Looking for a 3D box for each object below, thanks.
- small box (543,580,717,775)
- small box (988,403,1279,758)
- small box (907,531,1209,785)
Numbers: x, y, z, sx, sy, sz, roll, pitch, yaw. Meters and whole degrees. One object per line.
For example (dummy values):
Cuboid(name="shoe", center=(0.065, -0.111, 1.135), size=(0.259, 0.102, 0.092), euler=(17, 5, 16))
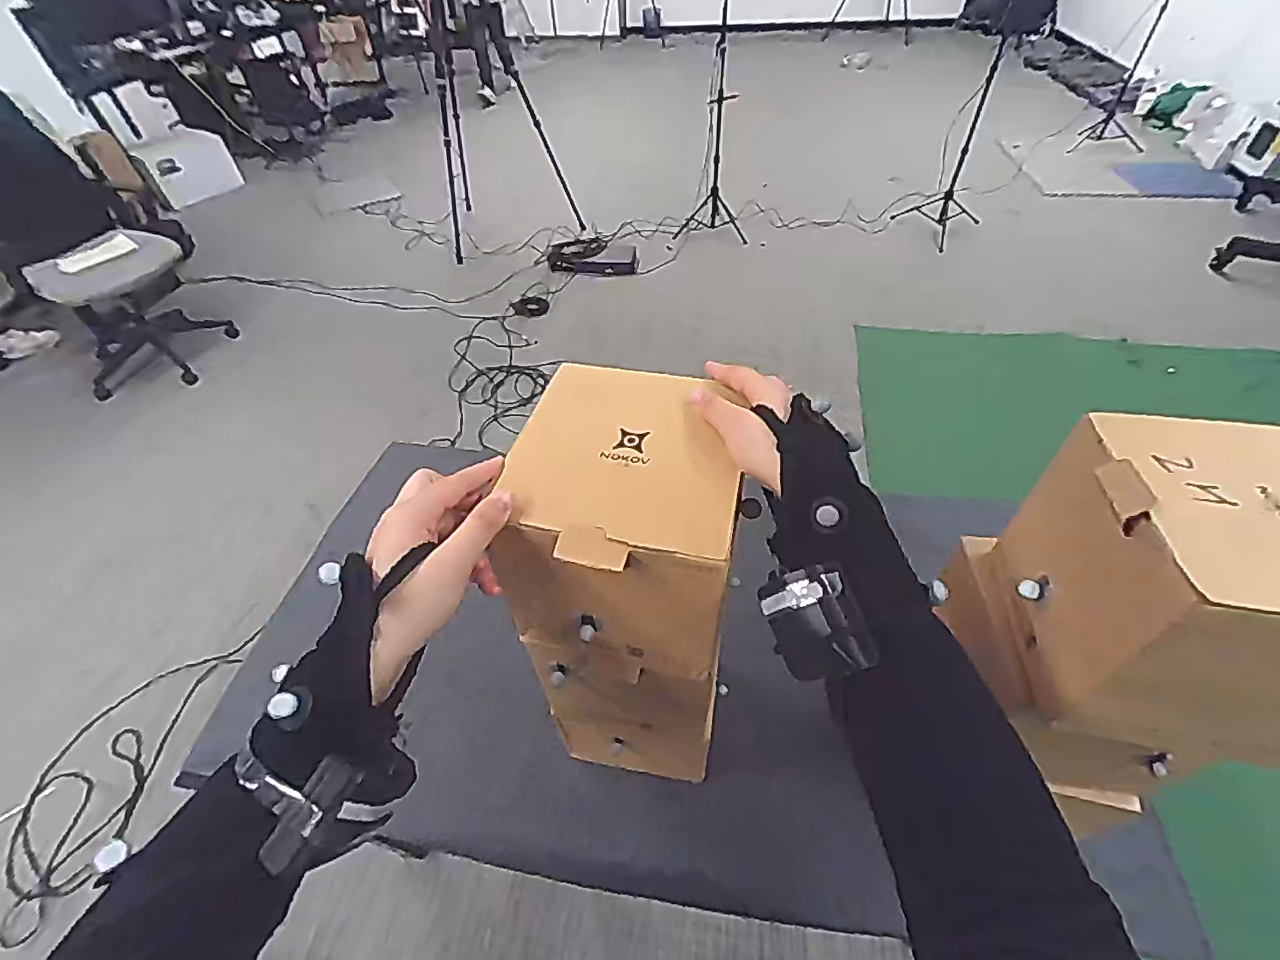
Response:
Cuboid(name="small box", center=(-0.001, 0.250, 0.679), size=(0.179, 0.176, 0.168), euler=(6, 48, 10))
Cuboid(name="small box", center=(0.383, 0.069, 0.373), size=(0.179, 0.176, 0.168), euler=(7, 45, 10))
Cuboid(name="small box", center=(0.381, 0.168, 0.507), size=(0.179, 0.176, 0.168), euler=(2, 45, 7))
